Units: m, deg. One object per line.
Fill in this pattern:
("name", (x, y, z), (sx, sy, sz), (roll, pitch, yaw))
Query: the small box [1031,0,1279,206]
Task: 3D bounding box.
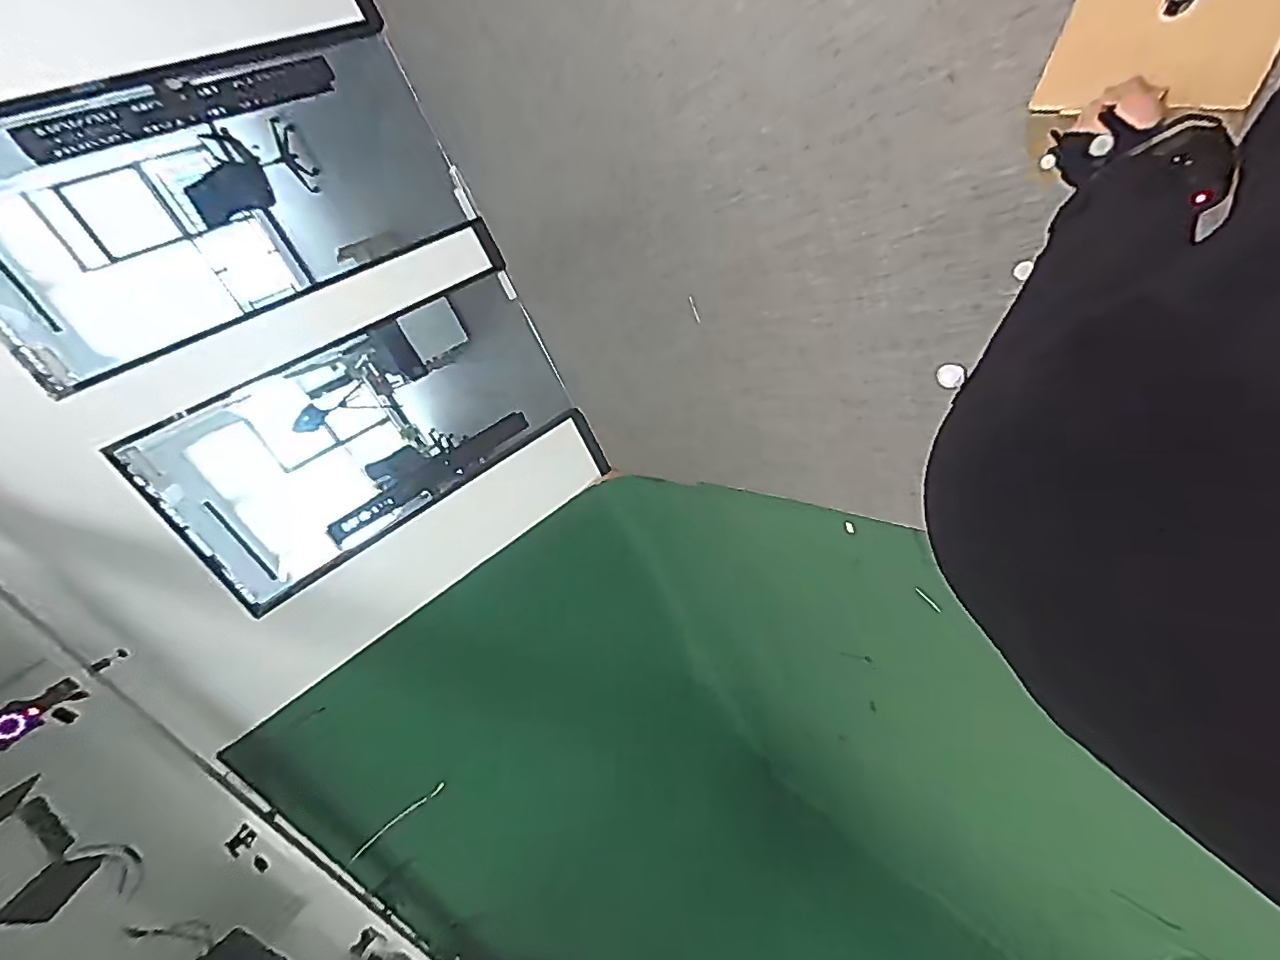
("small box", (0.530, -0.408, 0.552), (0.168, 0.179, 0.176), (28, 106, 34))
